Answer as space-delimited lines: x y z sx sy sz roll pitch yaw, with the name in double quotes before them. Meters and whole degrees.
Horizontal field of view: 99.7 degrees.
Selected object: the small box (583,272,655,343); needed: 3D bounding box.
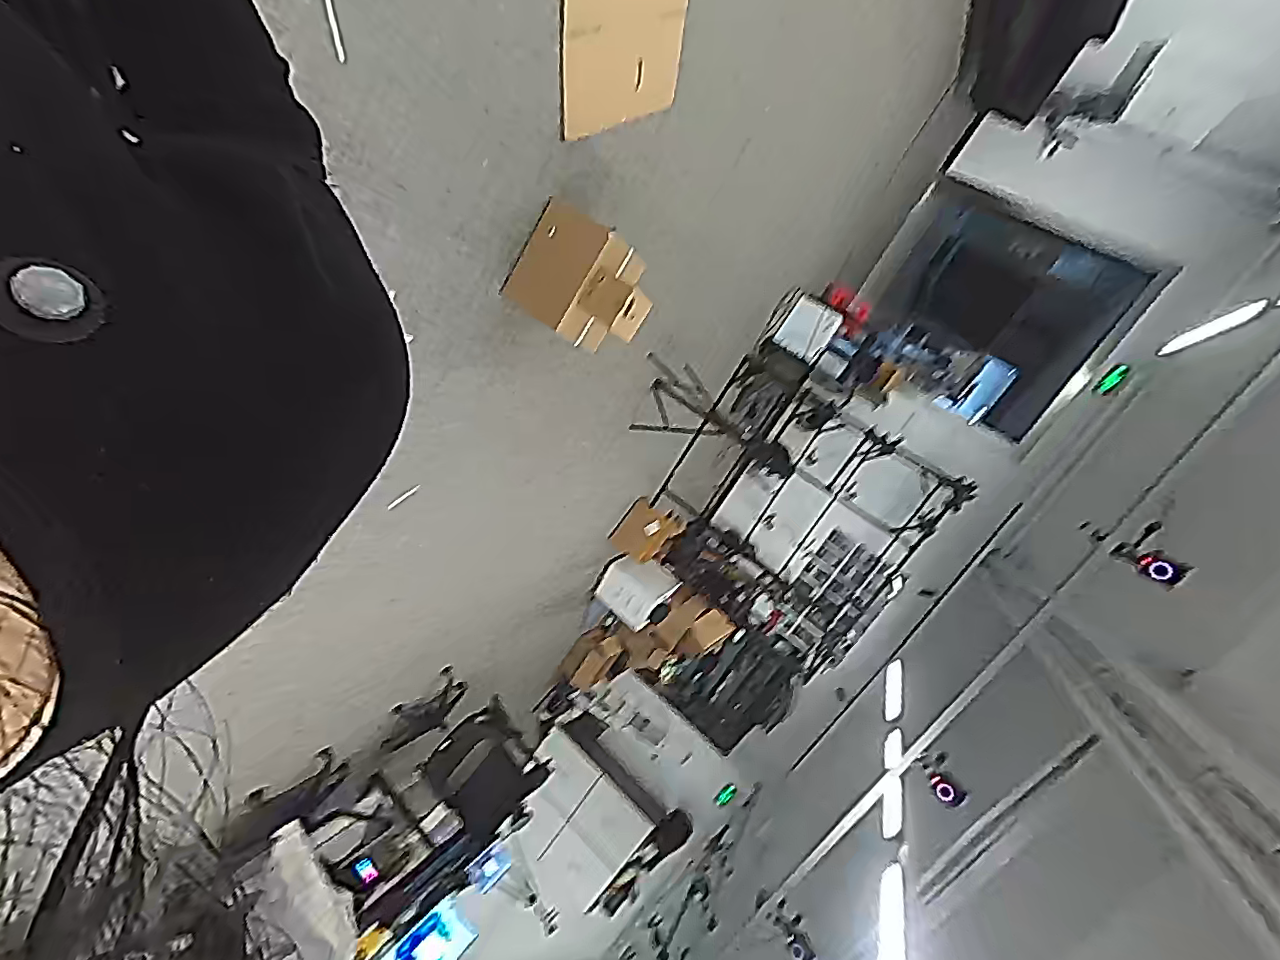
"small box" -0.079 -0.638 1.986 0.168 0.176 0.179 -56 160 9
